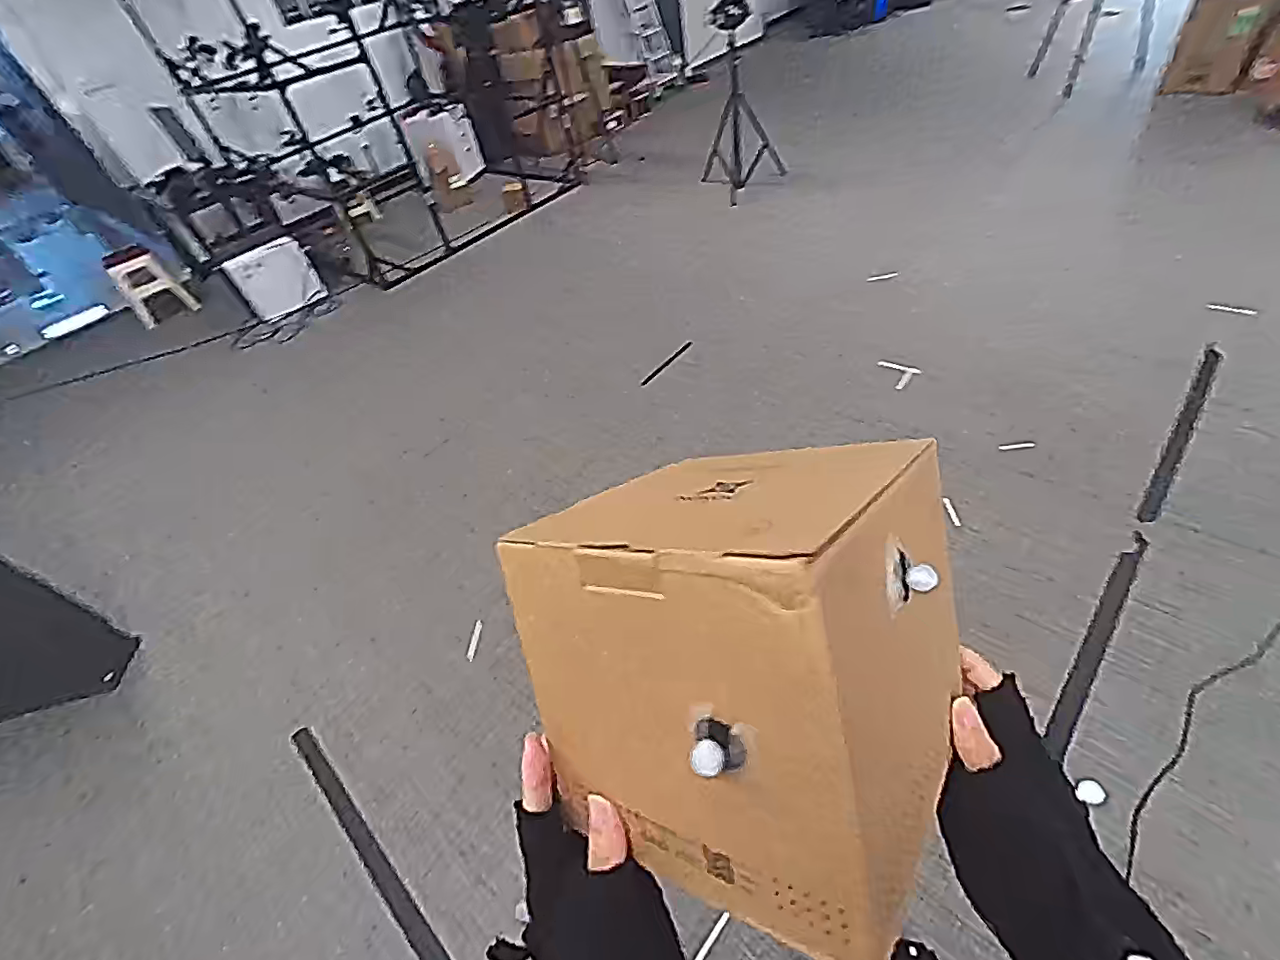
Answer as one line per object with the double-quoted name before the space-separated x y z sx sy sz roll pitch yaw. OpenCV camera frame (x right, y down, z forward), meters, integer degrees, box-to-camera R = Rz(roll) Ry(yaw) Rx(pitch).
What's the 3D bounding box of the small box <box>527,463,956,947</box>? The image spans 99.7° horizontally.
"small box" 0.069 0.096 0.310 0.168 0.176 0.179 -3 12 41
